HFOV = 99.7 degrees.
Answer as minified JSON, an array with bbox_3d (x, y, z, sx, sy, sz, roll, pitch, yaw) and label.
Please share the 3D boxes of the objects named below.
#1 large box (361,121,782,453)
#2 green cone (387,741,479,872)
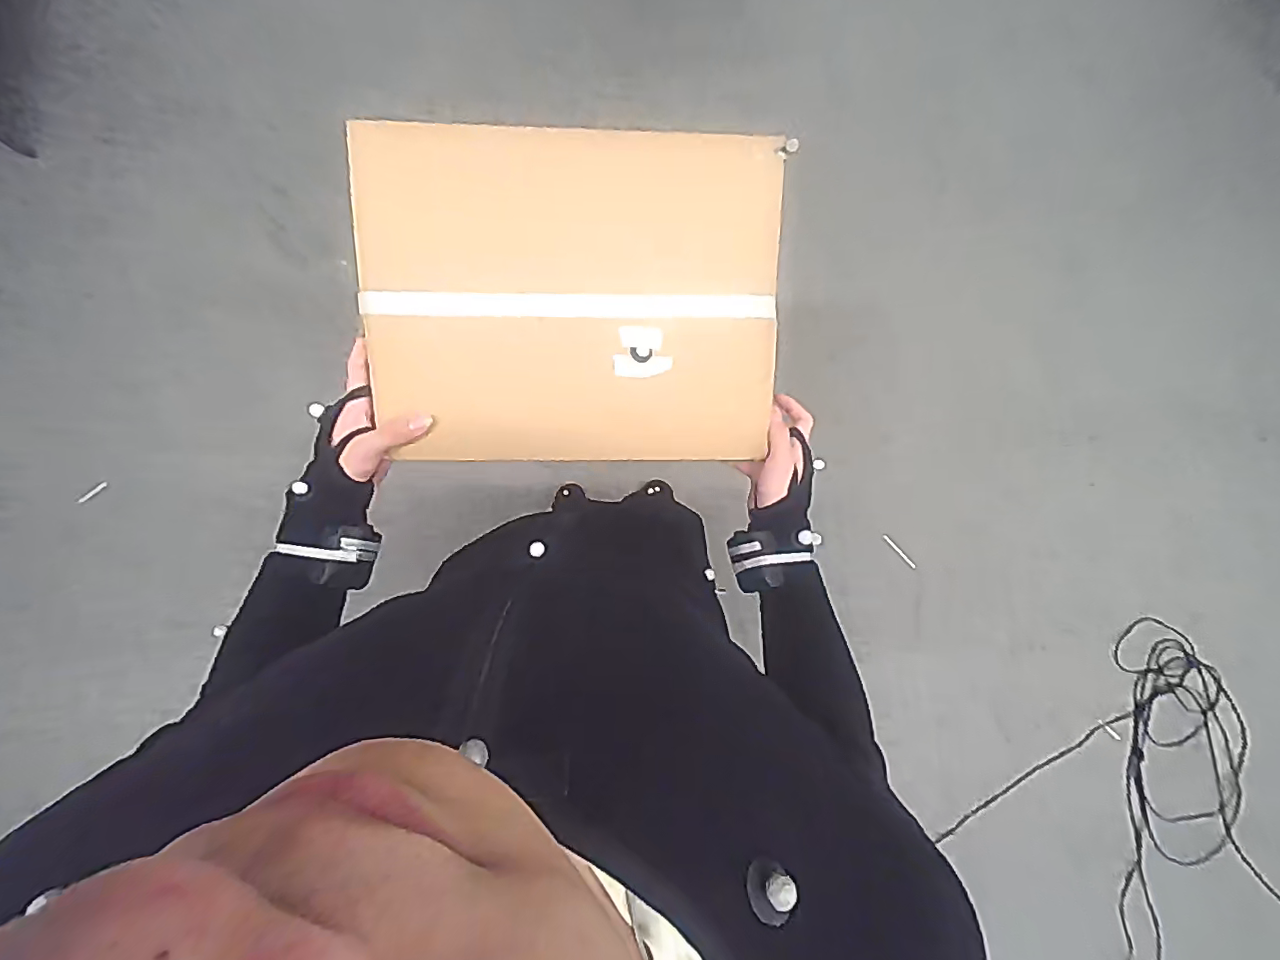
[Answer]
[{"bbox_3d":[-0.070,-0.216,0.685,0.408,0.320,0.320,-1,103,-4],"label":"large box"},{"bbox_3d":[-0.580,0.884,1.433,0.200,0.368,0.202,8,91,-3],"label":"green cone"}]
